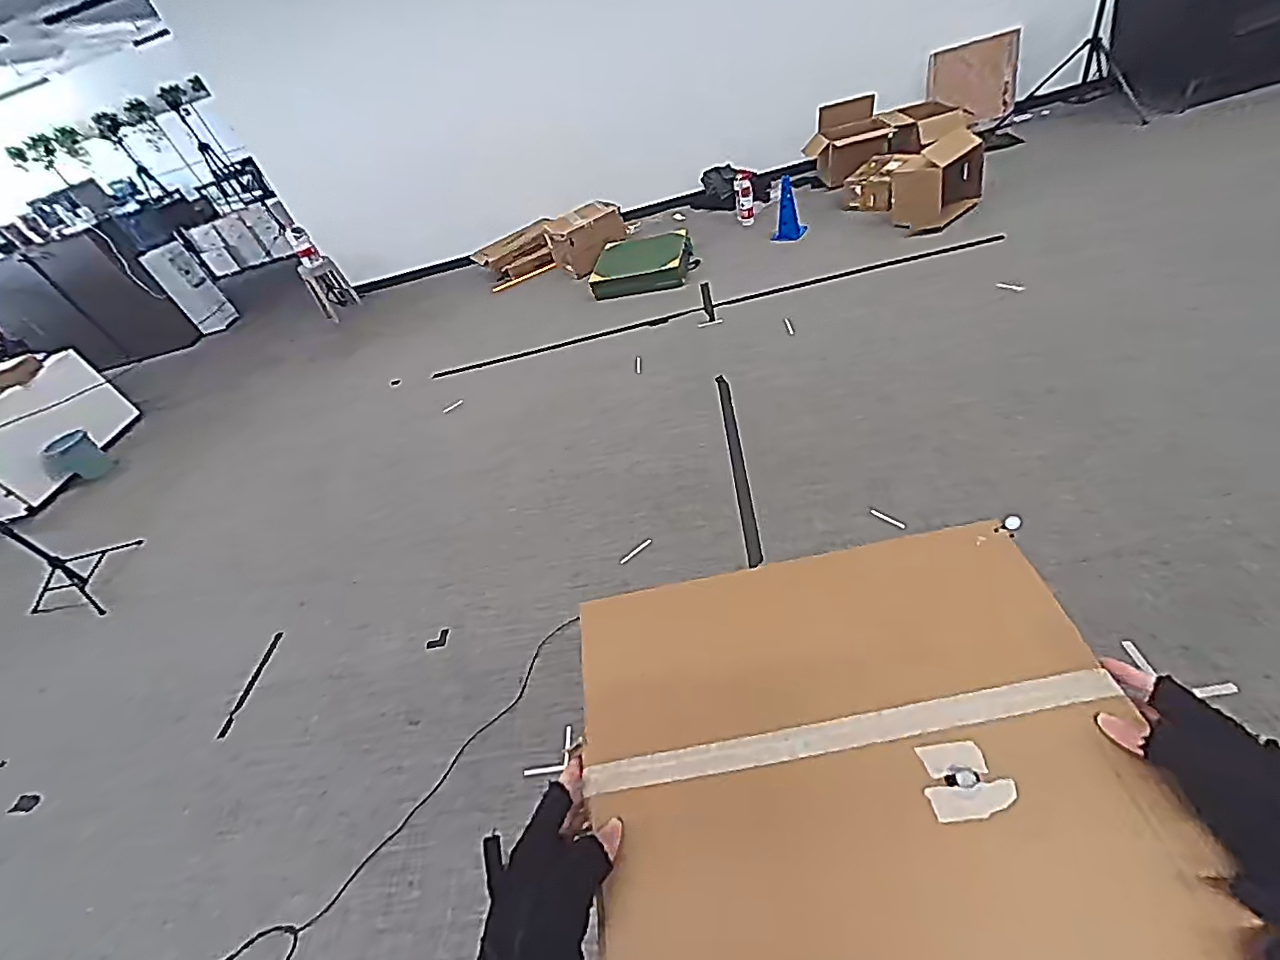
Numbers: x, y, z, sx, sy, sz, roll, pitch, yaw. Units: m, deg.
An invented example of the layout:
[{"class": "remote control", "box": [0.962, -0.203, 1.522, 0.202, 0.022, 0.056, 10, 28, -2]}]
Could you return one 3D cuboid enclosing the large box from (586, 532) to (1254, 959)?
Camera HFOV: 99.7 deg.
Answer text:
[{"class": "large box", "box": [0.184, 0.301, 0.541, 0.408, 0.320, 0.320, -12, 49, 3]}]
